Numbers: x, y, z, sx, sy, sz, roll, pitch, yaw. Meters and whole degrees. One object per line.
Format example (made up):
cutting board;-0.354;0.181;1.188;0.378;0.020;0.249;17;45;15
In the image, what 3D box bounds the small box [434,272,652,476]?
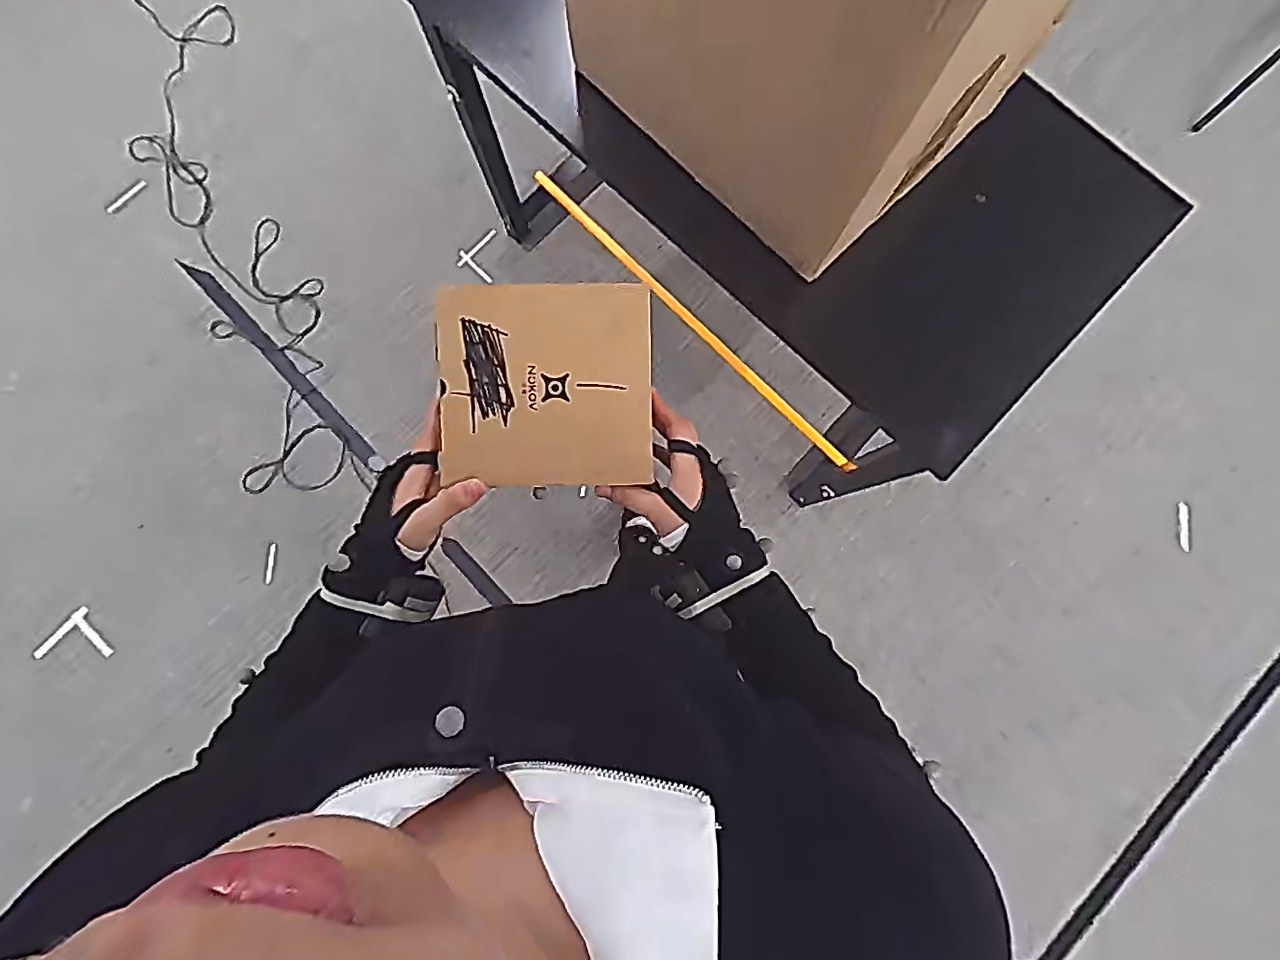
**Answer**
small box;-0.080;-0.089;0.516;0.179;0.176;0.168;-1;94;-3
